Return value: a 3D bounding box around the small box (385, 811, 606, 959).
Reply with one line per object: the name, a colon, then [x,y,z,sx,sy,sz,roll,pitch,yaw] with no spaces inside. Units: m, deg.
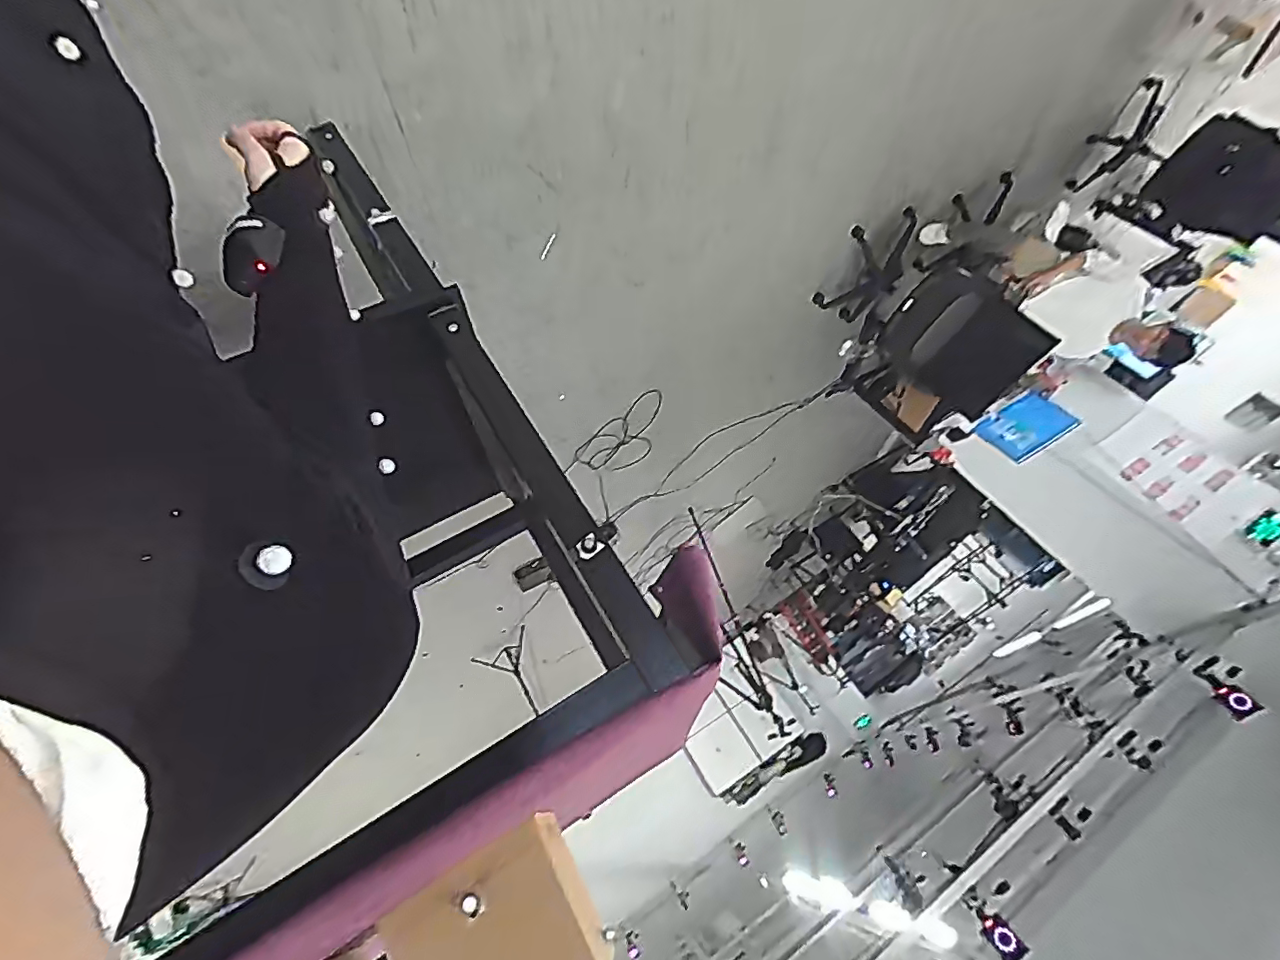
small box: [-0.155,0.496,0.590,0.179,0.176,0.168,-26,152,-15]
